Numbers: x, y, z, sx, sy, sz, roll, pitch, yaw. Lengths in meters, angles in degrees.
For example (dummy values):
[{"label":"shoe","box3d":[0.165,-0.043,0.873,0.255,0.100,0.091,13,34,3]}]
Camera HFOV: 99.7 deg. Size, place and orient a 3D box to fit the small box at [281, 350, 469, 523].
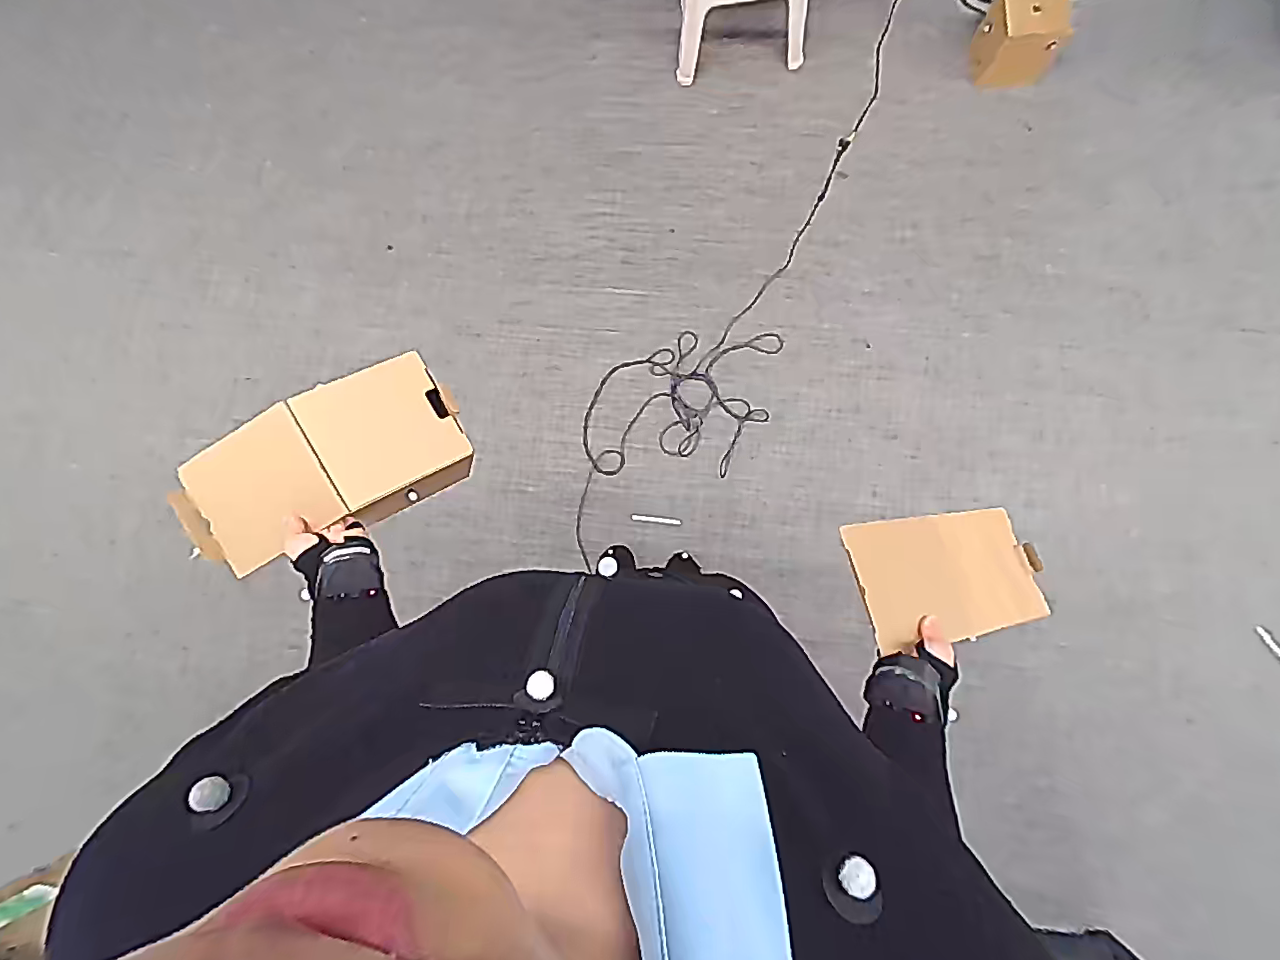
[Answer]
[{"label":"small box","box3d":[-0.362,-0.053,0.773,0.179,0.176,0.168,-30,90,-23]}]
